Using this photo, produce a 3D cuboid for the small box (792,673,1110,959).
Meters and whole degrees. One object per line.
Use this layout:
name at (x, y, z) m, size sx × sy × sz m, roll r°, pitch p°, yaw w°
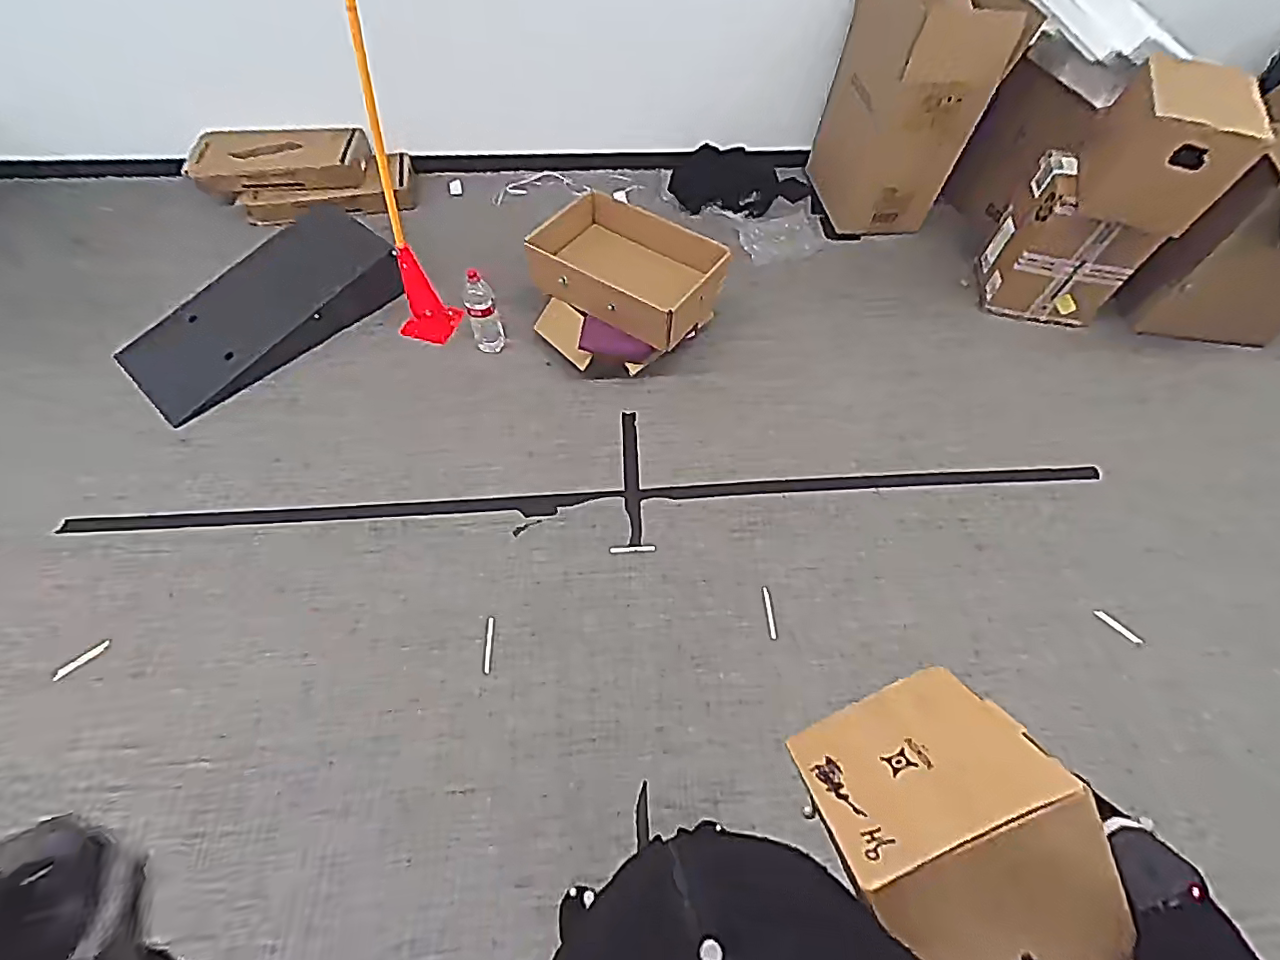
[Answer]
small box at (0.269, 0.317, 0.486) m, size 0.179 × 0.168 × 0.176 m, roll -25°, pitch 101°, yaw 0°
